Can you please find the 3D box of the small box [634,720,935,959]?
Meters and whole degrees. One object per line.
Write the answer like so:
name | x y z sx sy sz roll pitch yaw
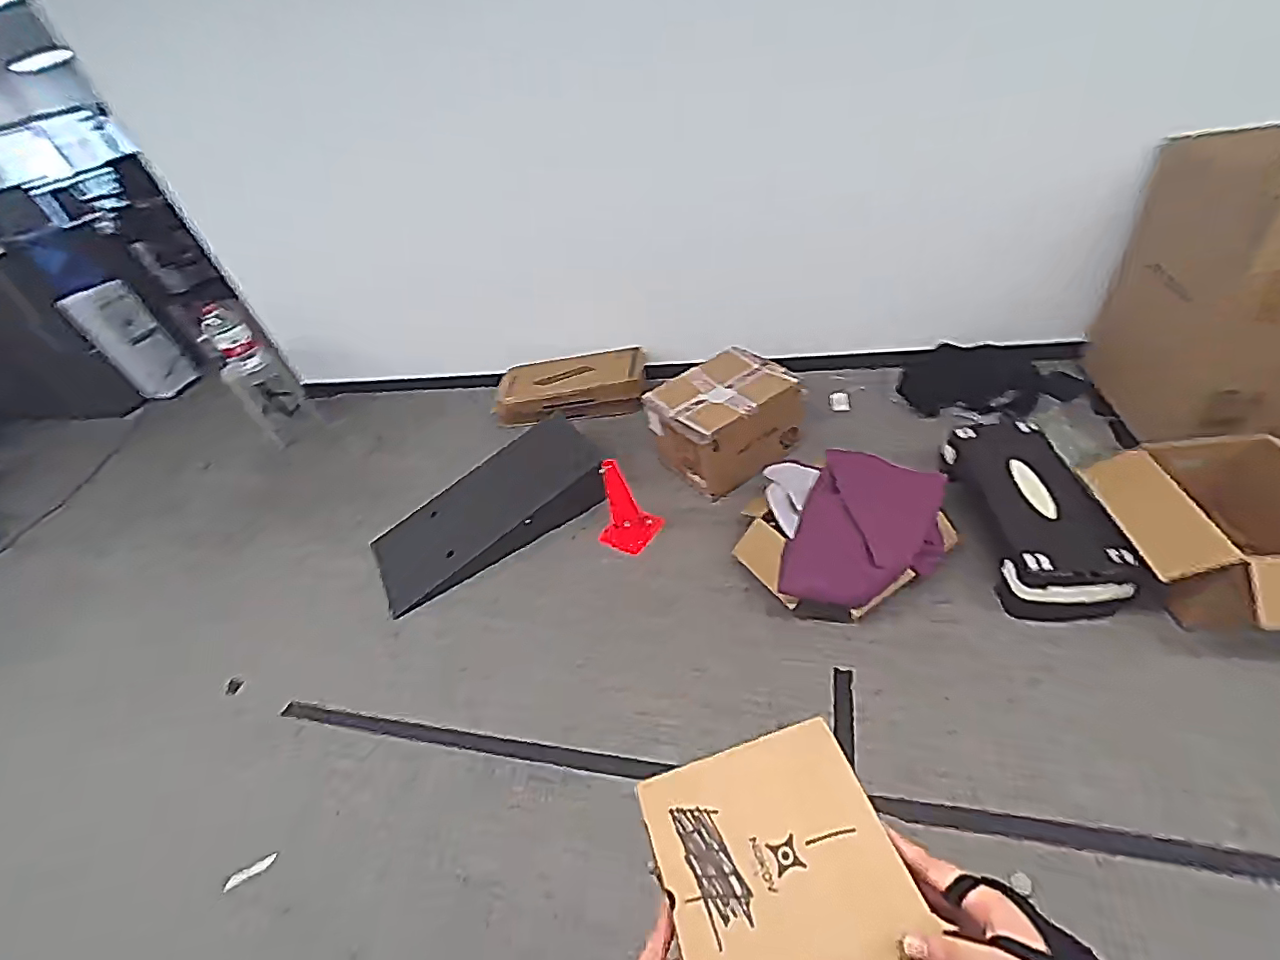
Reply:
small box | 0.108 0.345 0.466 0.179 0.176 0.168 -16 44 -7
